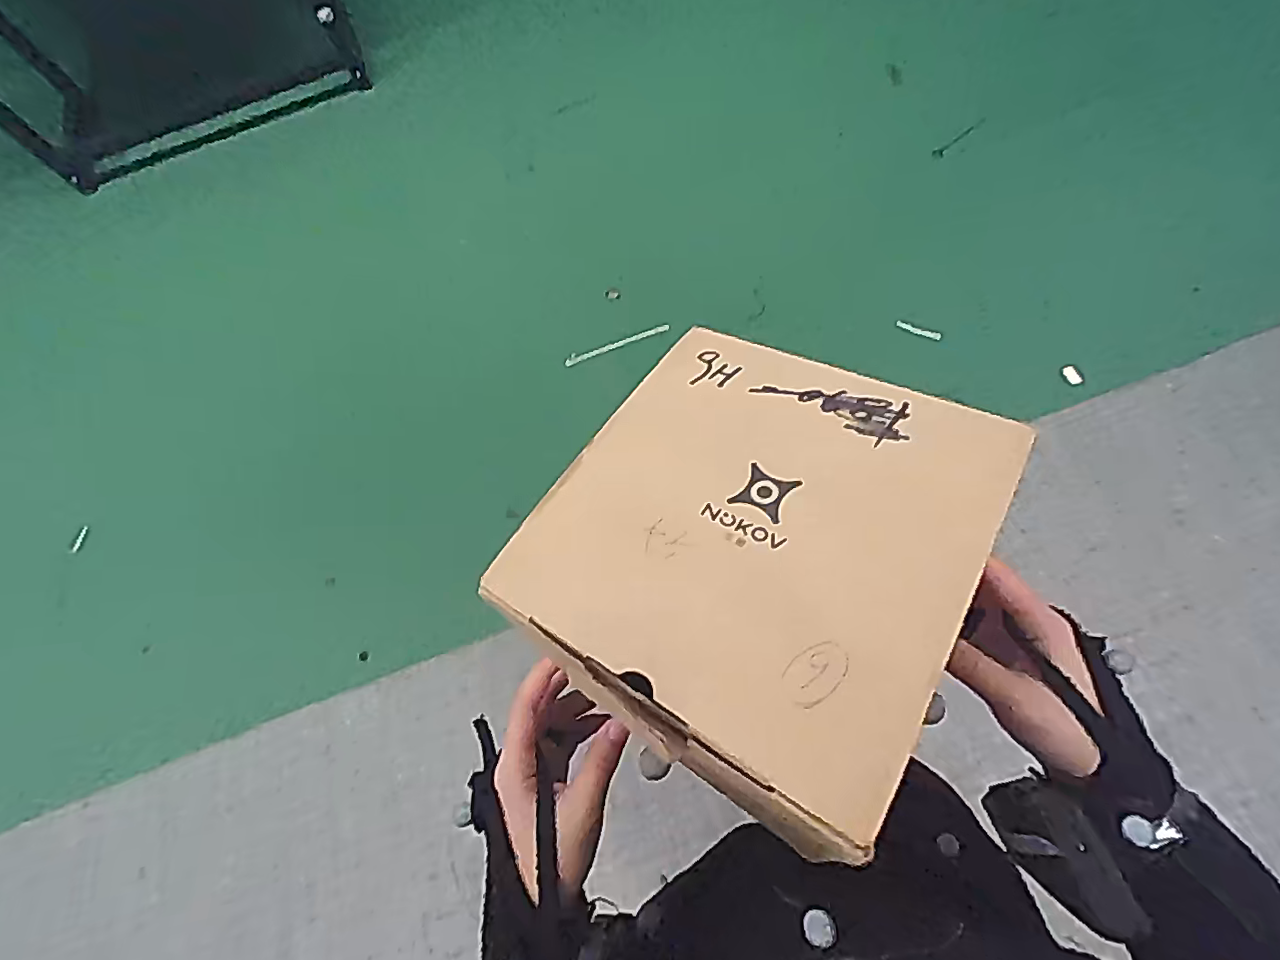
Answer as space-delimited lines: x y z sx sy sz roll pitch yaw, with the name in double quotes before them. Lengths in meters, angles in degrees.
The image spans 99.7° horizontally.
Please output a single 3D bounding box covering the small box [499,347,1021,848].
"small box" 0.064 0.065 0.296 0.168 0.176 0.179 25 64 26
